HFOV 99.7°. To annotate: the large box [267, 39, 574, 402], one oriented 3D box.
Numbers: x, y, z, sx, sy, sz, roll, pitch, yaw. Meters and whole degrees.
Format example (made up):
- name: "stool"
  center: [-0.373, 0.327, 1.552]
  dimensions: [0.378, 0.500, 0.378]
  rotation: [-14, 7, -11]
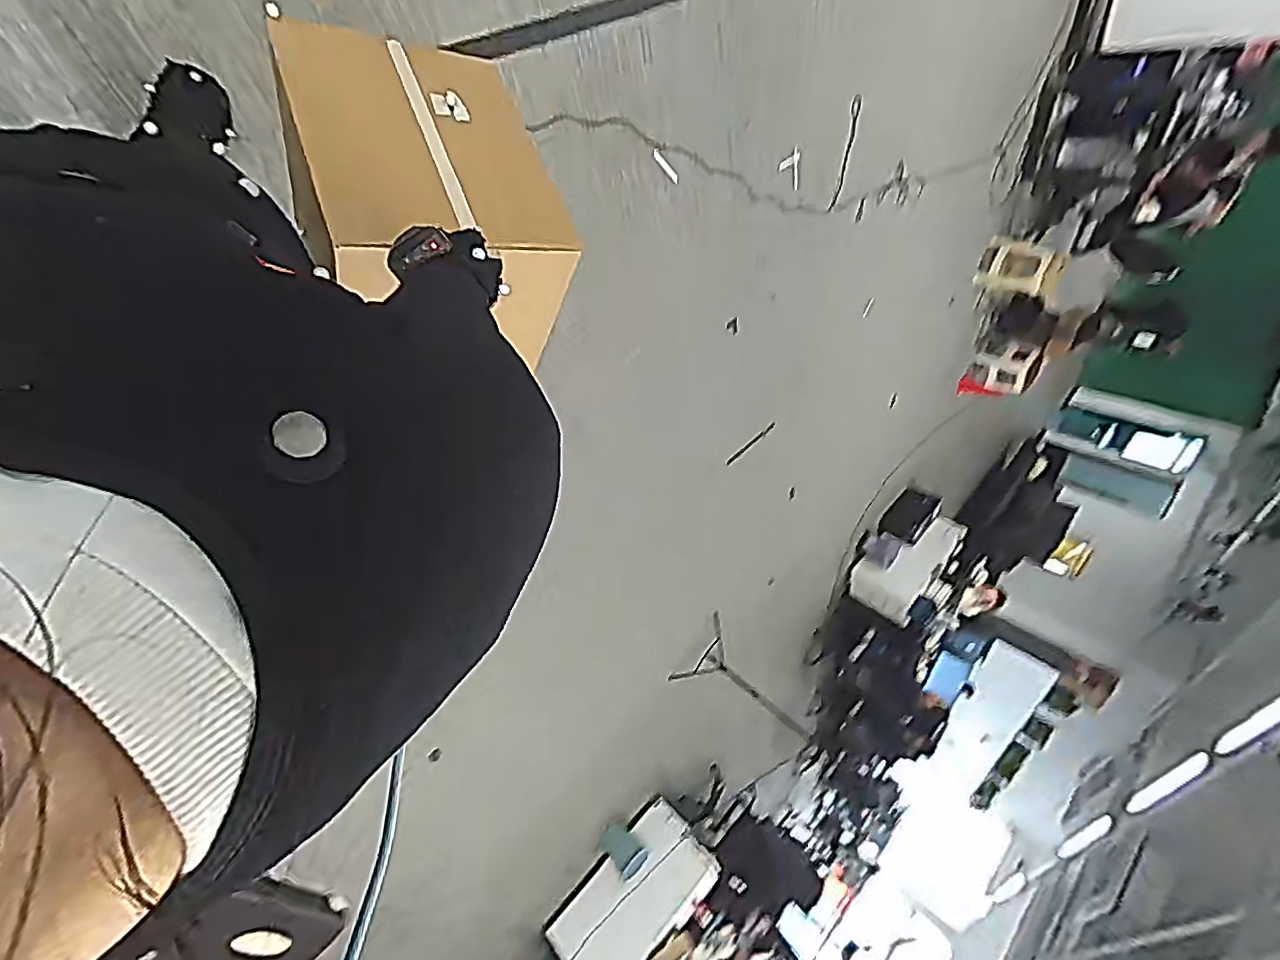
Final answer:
- name: "large box"
  center: [-0.358, -0.388, 0.870]
  dimensions: [0.320, 0.408, 0.320]
  rotation: [-13, 159, -34]
